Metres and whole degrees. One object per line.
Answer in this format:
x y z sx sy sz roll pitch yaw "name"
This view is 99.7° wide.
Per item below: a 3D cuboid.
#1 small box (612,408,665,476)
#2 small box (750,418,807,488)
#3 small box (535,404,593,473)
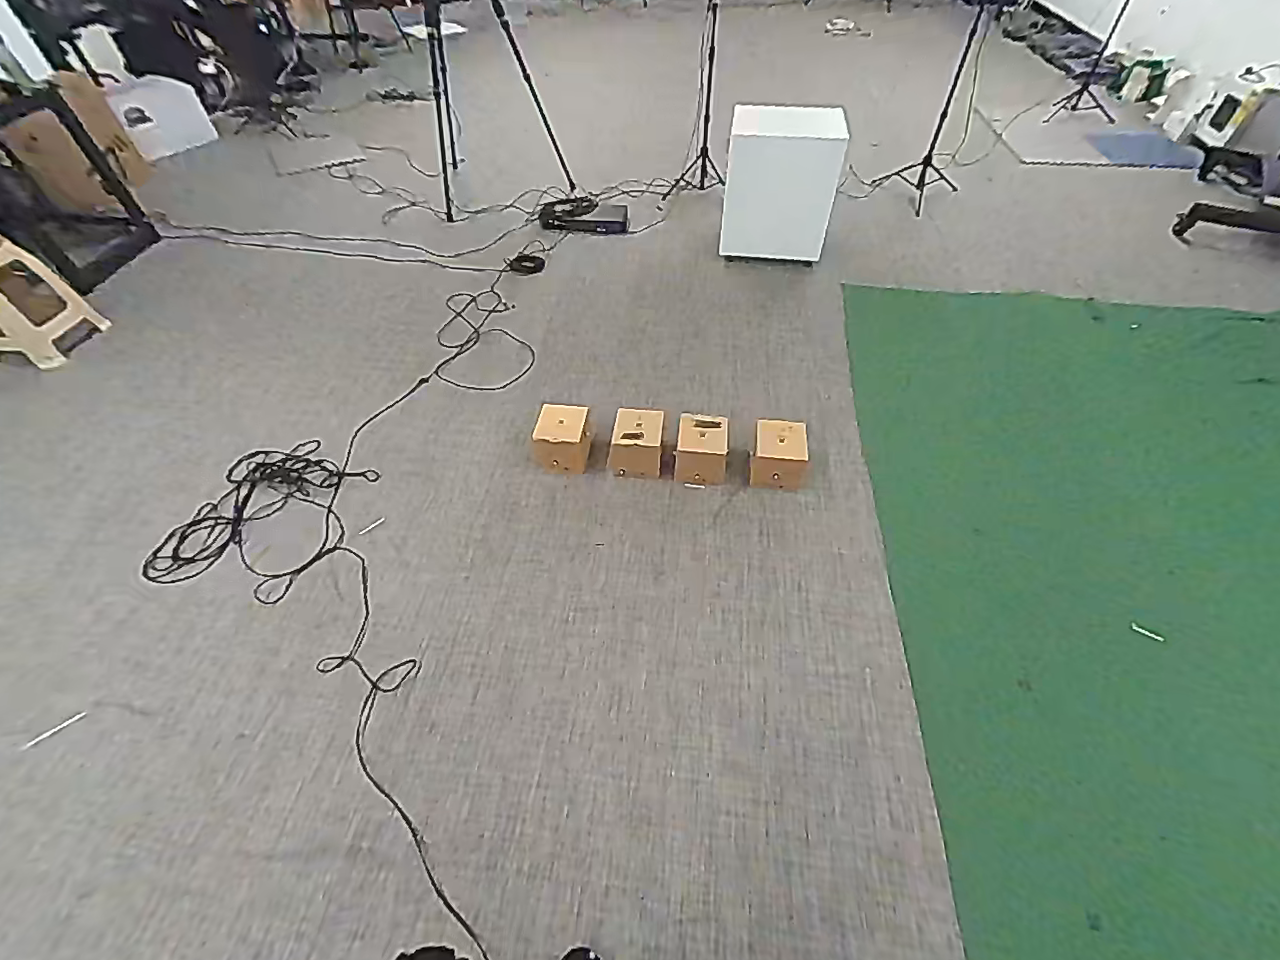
-0.001 -0.132 1.916 0.168 0.176 0.179 4 50 6 "small box"
0.476 -0.089 1.871 0.168 0.176 0.179 6 51 5 "small box"
-0.265 -0.148 1.940 0.168 0.176 0.179 4 51 6 "small box"
